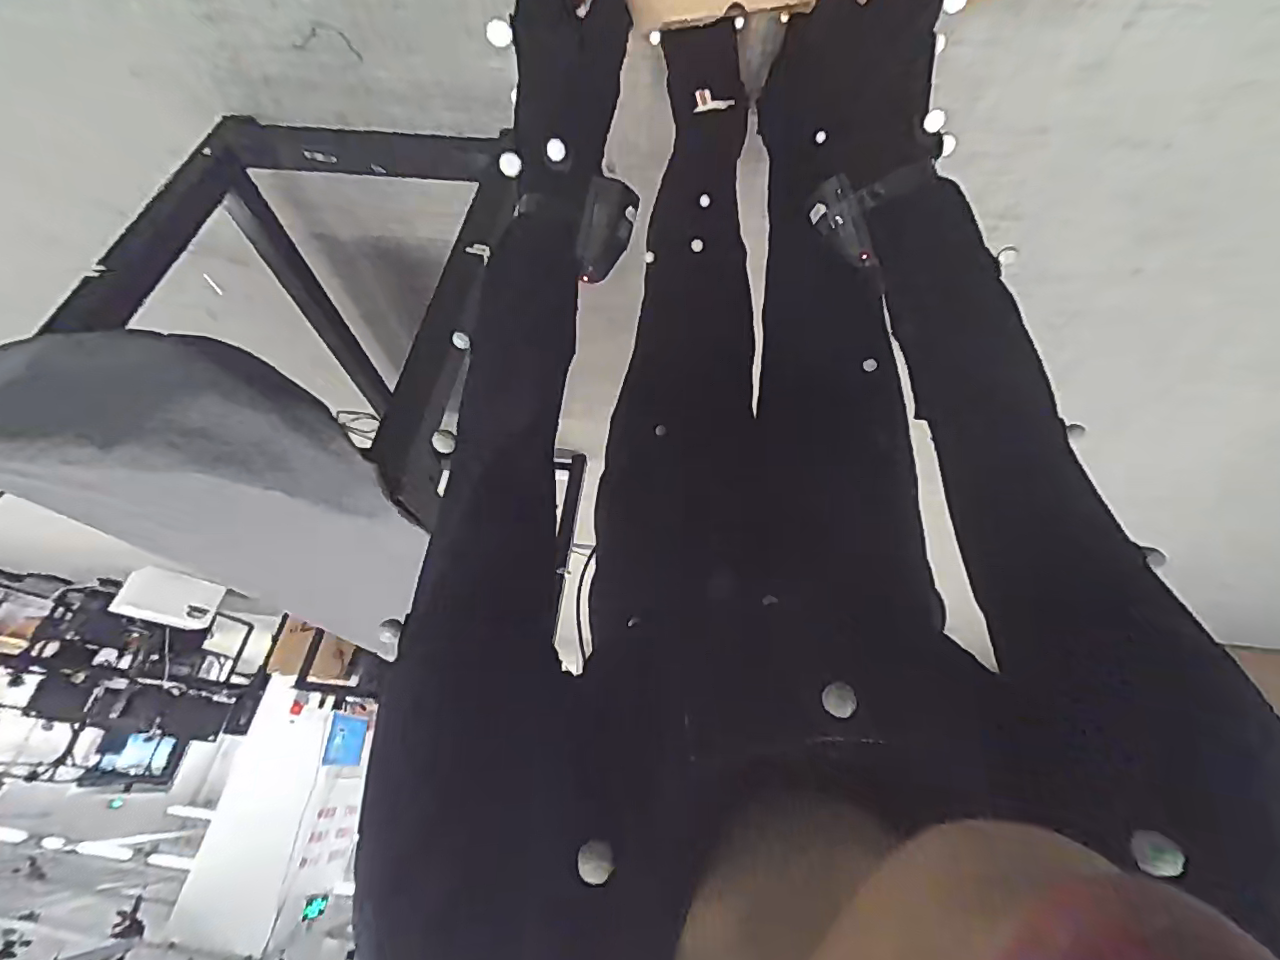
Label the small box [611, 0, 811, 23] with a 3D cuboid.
[{"bbox_3d":[0.057,-0.443,0.353,0.168,0.176,0.179,-2,144,7],"label":"small box"}]
